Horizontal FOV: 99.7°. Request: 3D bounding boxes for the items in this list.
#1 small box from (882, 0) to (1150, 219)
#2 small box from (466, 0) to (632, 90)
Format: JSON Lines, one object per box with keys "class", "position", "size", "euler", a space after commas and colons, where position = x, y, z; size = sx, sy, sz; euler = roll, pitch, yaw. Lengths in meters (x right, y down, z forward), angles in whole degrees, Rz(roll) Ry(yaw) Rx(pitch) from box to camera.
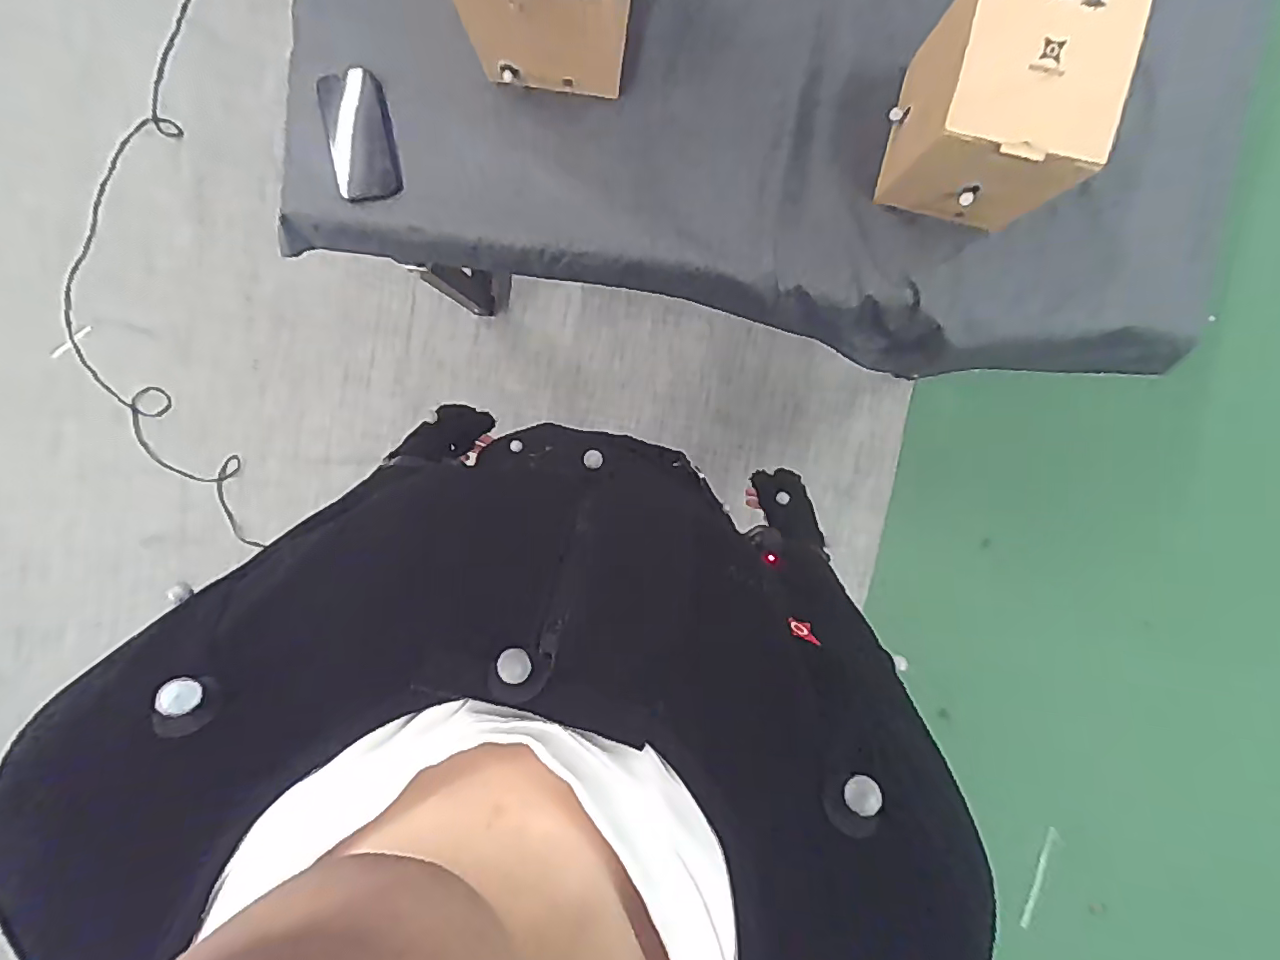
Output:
{"class": "small box", "position": [0.400, -0.424, 0.612], "size": [0.168, 0.176, 0.179], "euler": [13, 96, -1]}
{"class": "small box", "position": [-0.093, -0.578, 0.599], "size": [0.168, 0.176, 0.179], "euler": [8, 94, -1]}
